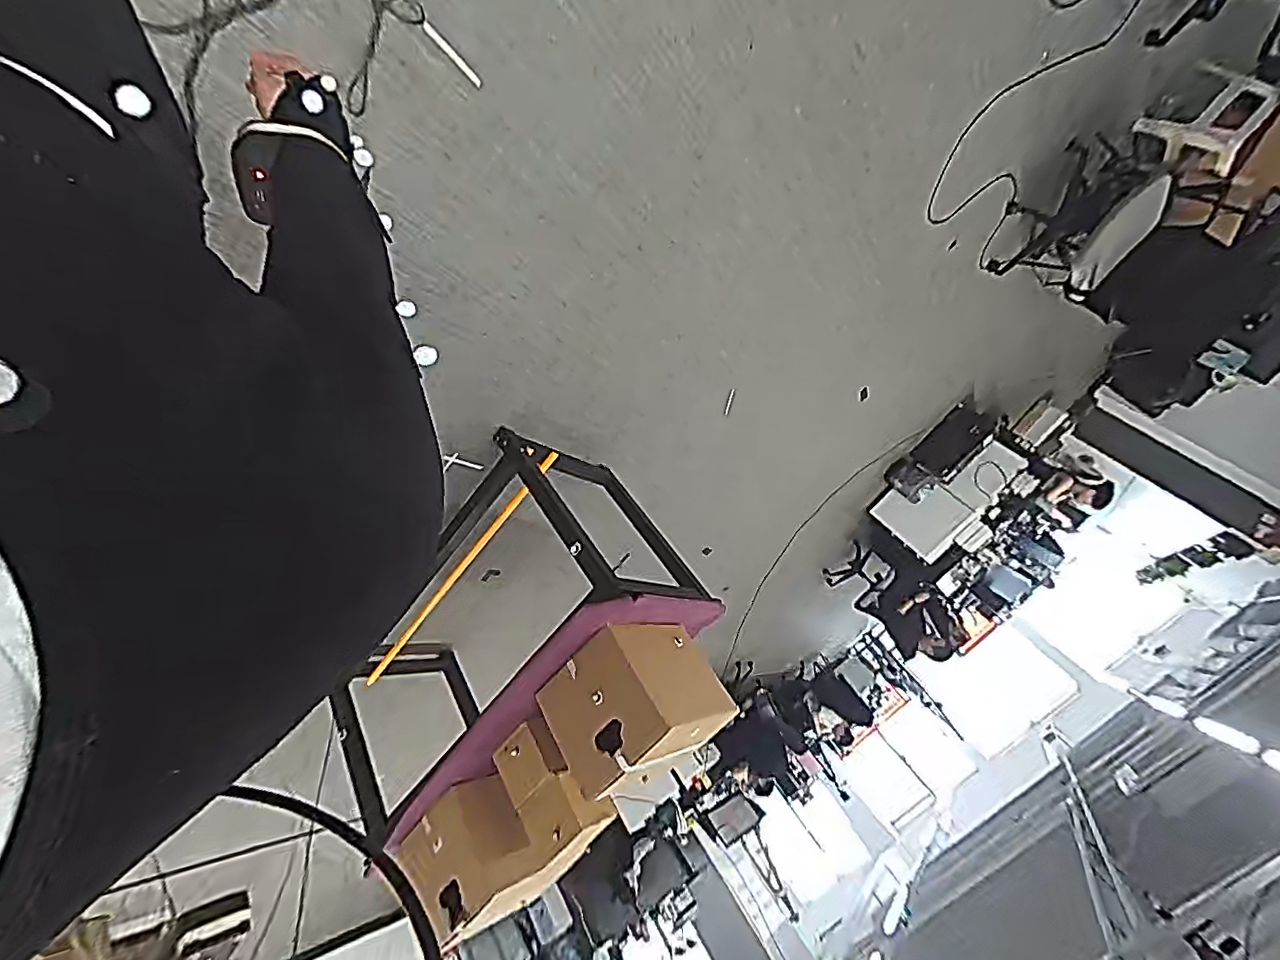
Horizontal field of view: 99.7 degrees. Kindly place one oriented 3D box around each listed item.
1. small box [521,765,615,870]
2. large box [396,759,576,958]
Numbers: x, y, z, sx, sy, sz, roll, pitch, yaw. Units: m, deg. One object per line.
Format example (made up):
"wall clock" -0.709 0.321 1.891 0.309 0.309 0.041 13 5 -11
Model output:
"small box" -0.210 0.937 1.517 0.179 0.176 0.168 -49 146 12
"large box" -0.459 1.133 1.673 0.320 0.320 0.408 -49 147 13
